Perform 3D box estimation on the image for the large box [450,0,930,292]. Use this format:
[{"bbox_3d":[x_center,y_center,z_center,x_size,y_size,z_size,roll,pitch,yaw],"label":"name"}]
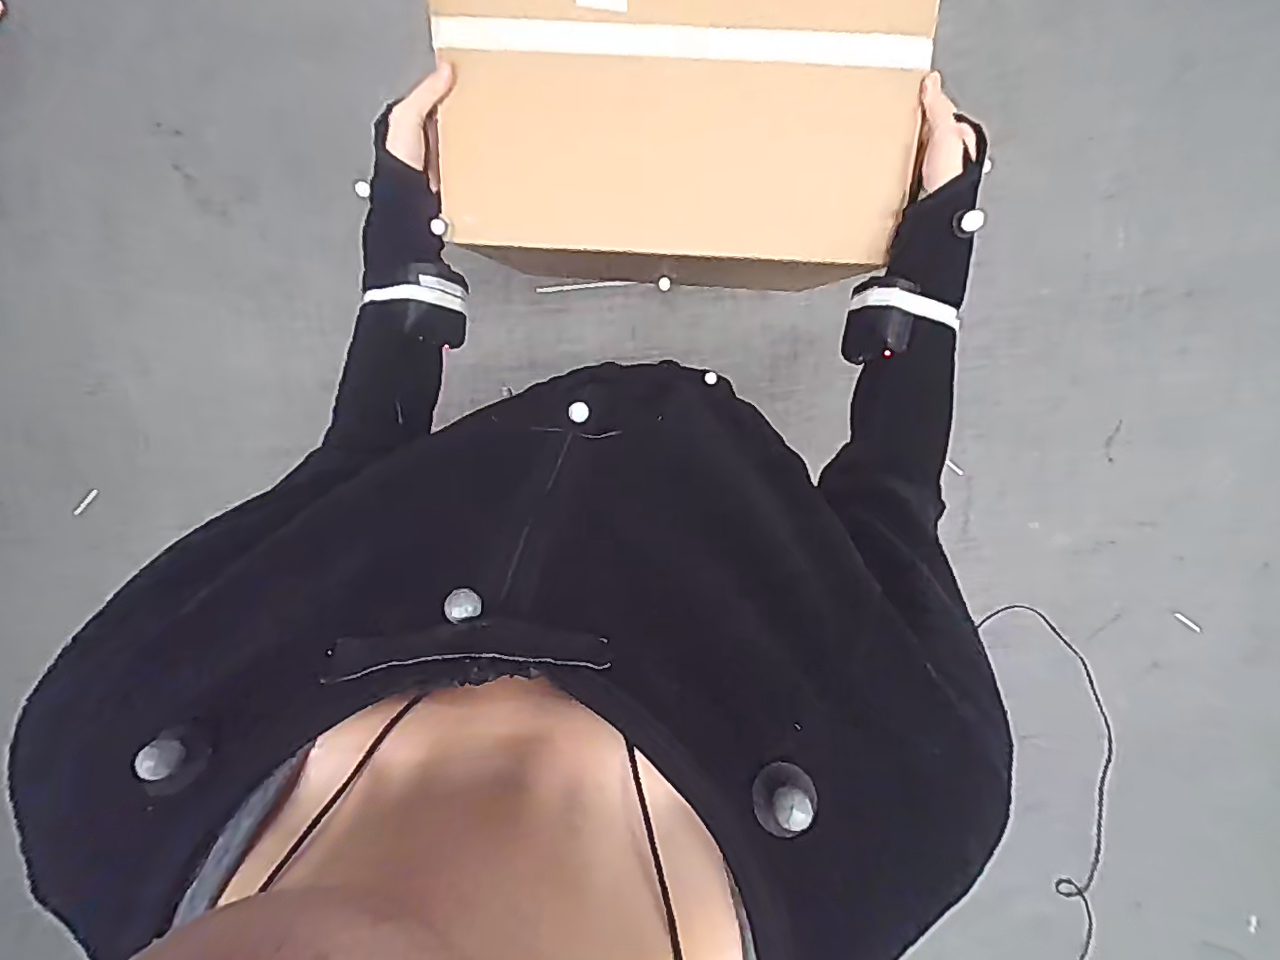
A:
[{"bbox_3d":[0.044,-0.384,0.602,0.408,0.320,0.320,3,103,2],"label":"large box"}]
